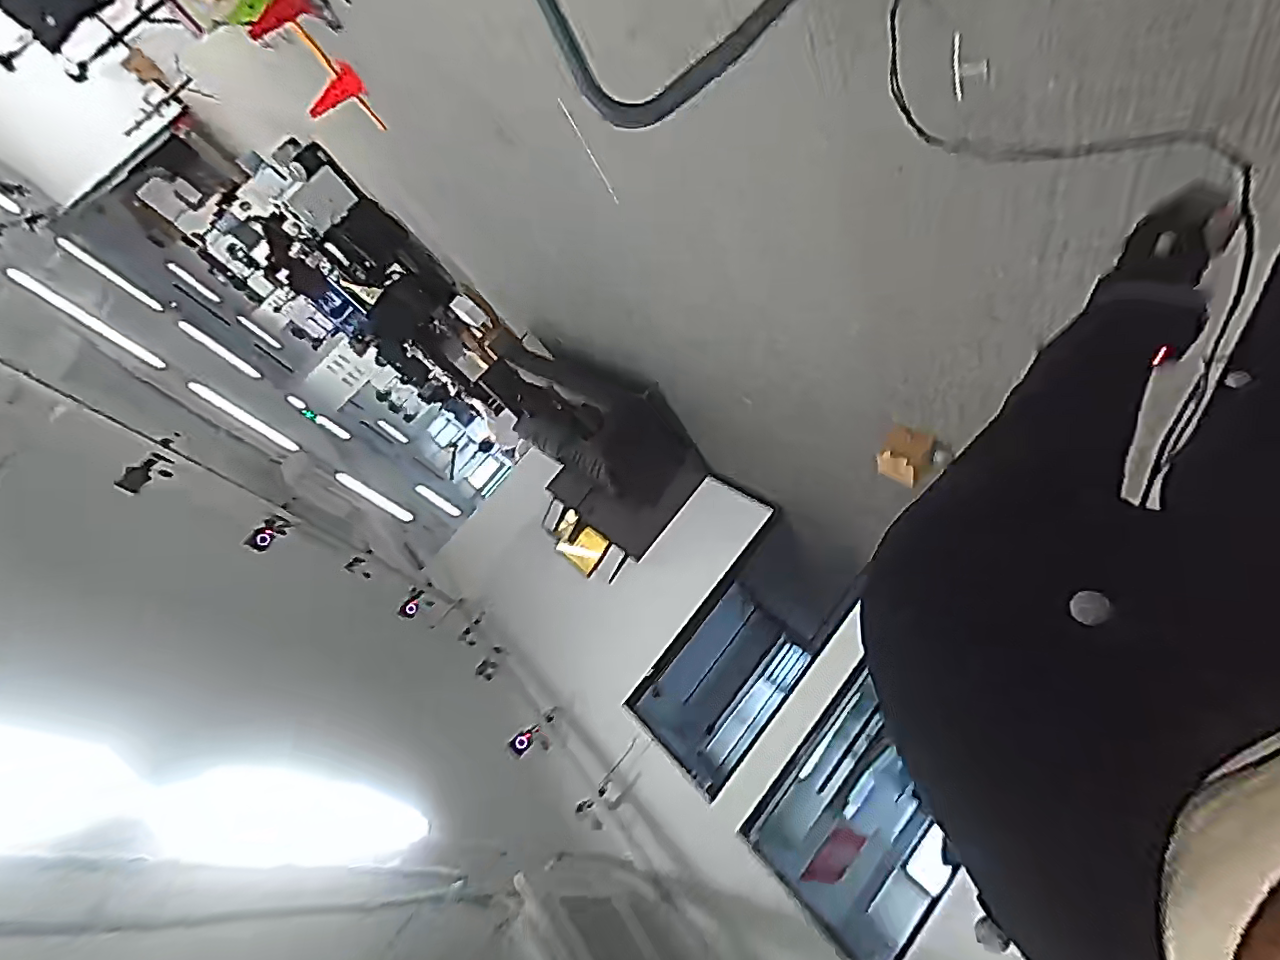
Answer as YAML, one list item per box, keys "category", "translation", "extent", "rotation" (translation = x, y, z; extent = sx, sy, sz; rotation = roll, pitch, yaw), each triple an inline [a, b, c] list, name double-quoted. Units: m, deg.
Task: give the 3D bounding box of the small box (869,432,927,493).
- category: "small box"
  translation: [1.122, -0.078, 2.353]
  extent: [0.168, 0.176, 0.179]
  rotation: [33, 166, 31]
